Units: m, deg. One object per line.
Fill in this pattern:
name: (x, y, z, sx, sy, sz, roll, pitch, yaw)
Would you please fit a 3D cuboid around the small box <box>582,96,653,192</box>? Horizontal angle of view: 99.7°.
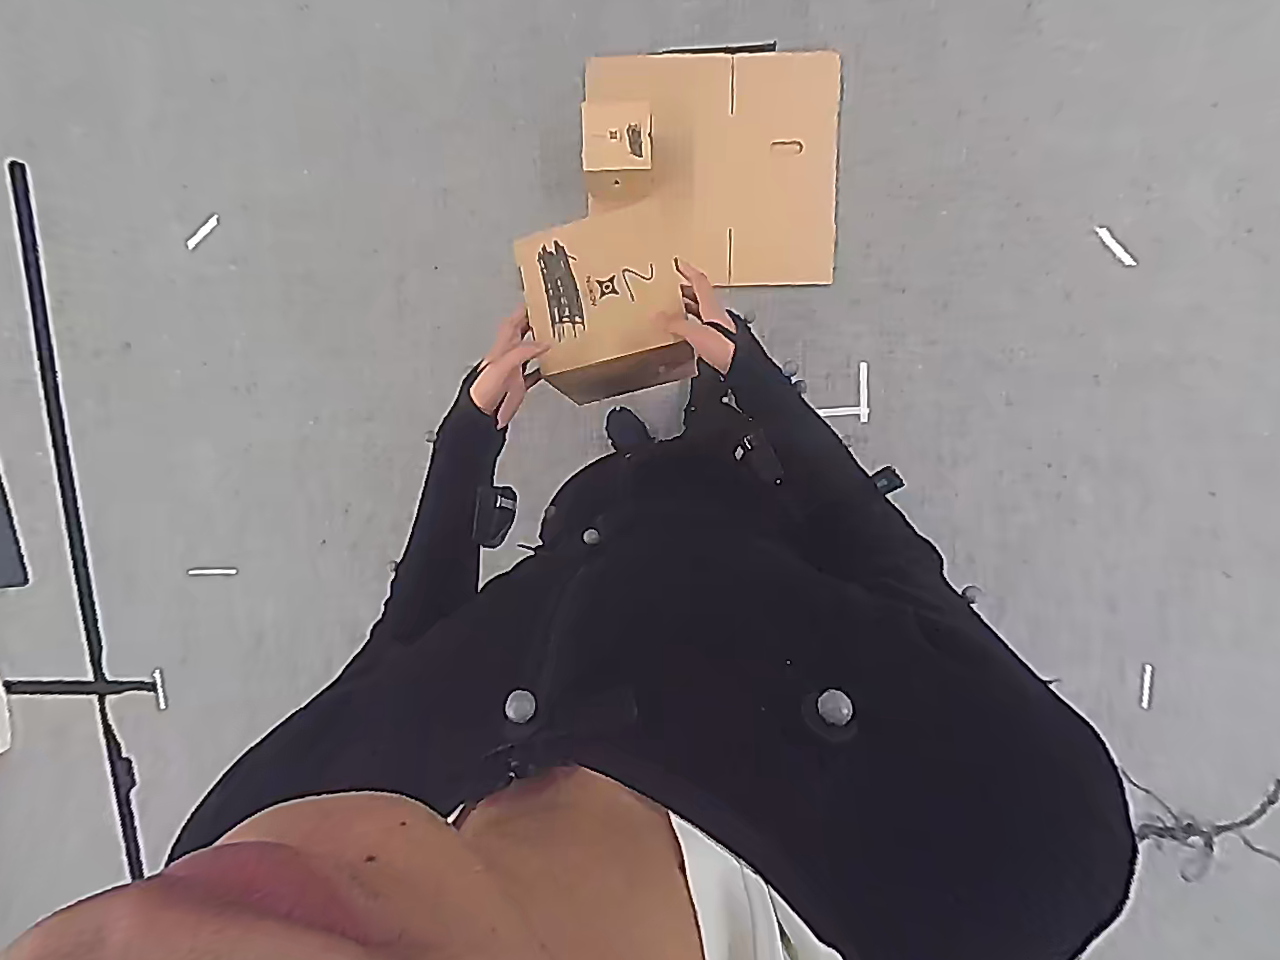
small box: (-0.054, -0.877, 1.423, 0.179, 0.176, 0.168, 0, 98, 2)
